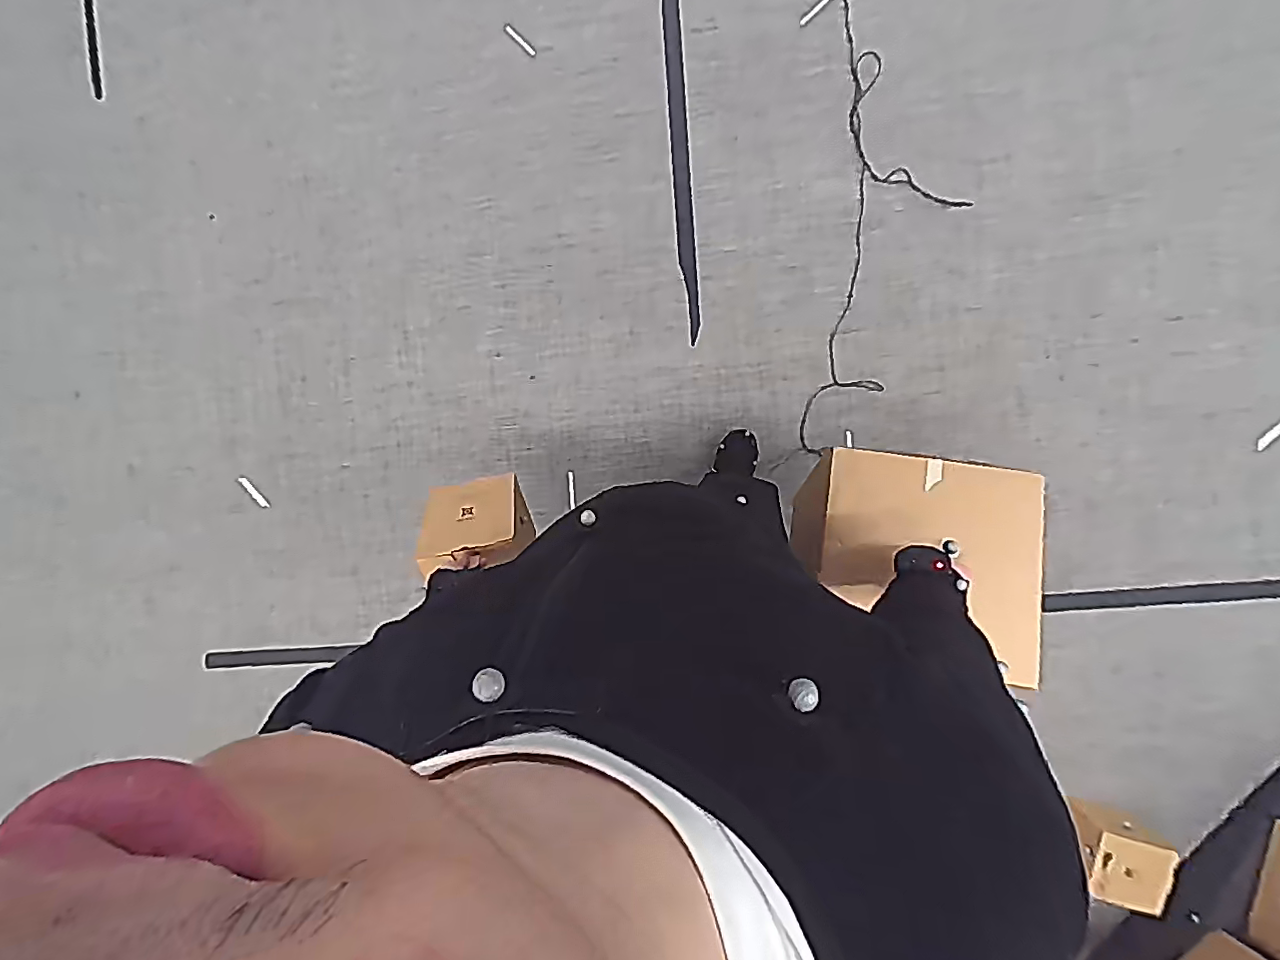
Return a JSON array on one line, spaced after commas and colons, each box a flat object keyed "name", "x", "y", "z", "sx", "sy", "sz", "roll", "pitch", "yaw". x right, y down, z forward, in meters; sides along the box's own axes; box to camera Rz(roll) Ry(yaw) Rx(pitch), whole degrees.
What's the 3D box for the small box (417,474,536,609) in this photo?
[{"name": "small box", "x": -0.292, "y": 0.120, "z": 1.005, "sx": 0.168, "sy": 0.179, "sz": 0.176, "roll": -11, "pitch": 131, "yaw": -4}]
